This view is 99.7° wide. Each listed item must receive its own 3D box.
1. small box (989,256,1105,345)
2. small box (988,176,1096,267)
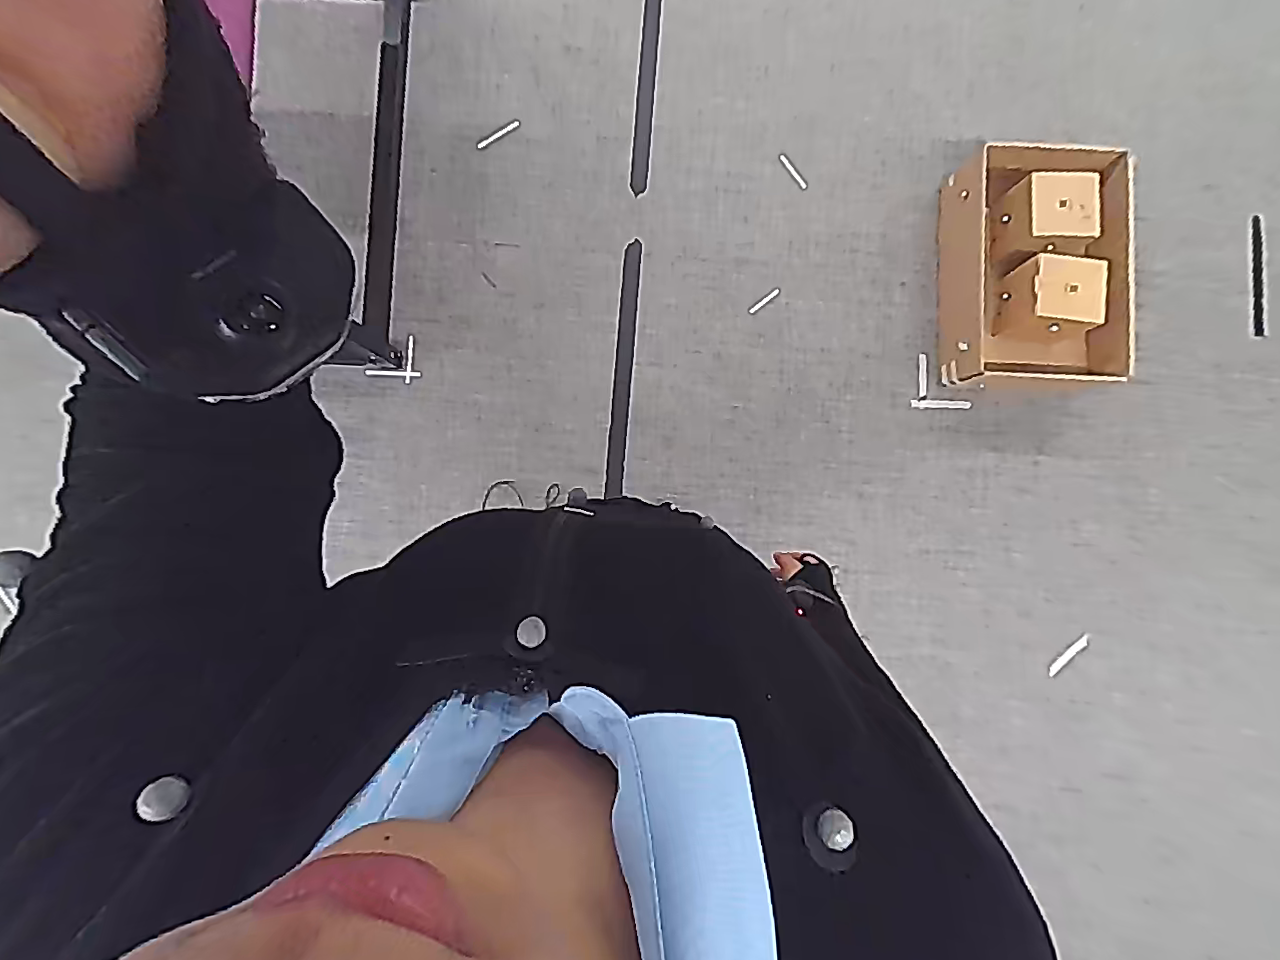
[{"bbox_3d":[1.081,-0.471,1.445,0.179,0.176,0.168,8,86,-1],"label":"small box"},{"bbox_3d":[1.071,-0.688,1.453,0.179,0.176,0.168,1,89,-1],"label":"small box"}]
